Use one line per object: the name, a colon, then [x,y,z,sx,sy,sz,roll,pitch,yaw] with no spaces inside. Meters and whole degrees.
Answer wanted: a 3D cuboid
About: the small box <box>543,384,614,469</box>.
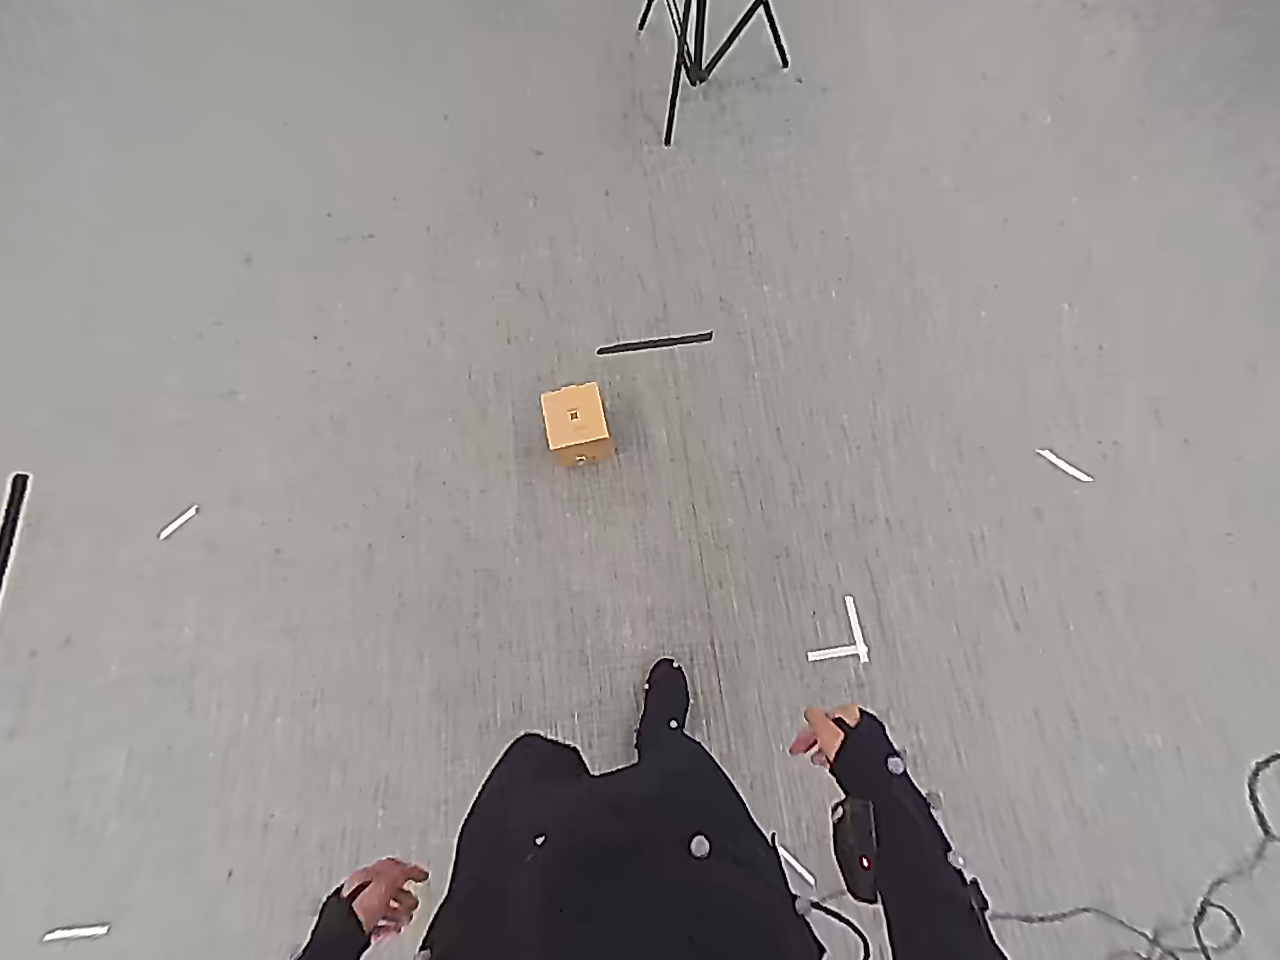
small box: [-0.174,-0.151,1.569,0.168,0.176,0.179,-12,73,-1]
